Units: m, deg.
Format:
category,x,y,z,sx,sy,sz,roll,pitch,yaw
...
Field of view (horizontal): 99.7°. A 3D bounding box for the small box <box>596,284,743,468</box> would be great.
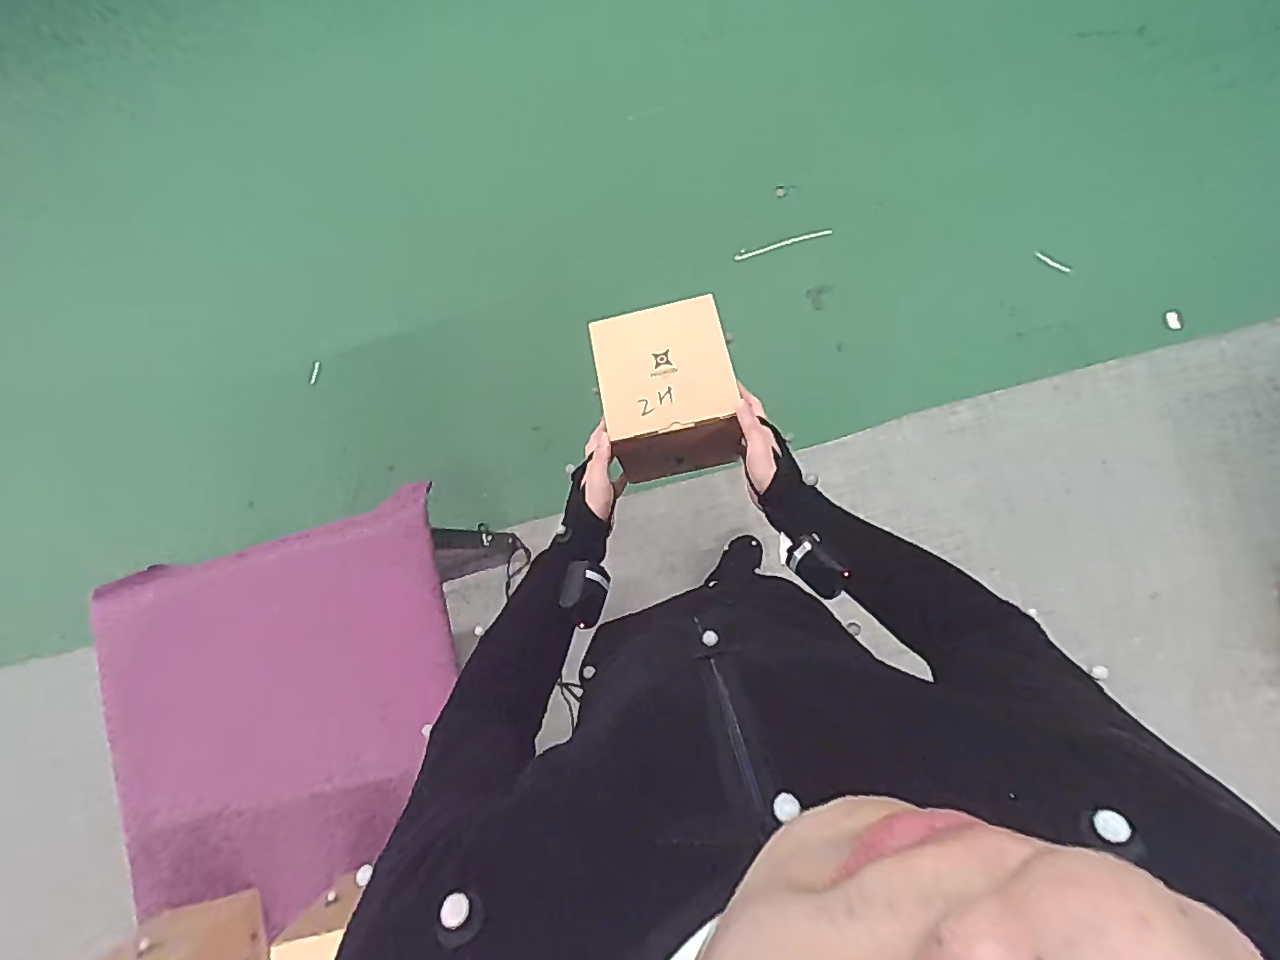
category,x,y,z,sx,sy,sz,roll,pitch,yaw
small box,0.043,-0.135,0.750,0.168,0.176,0.179,-11,71,6
